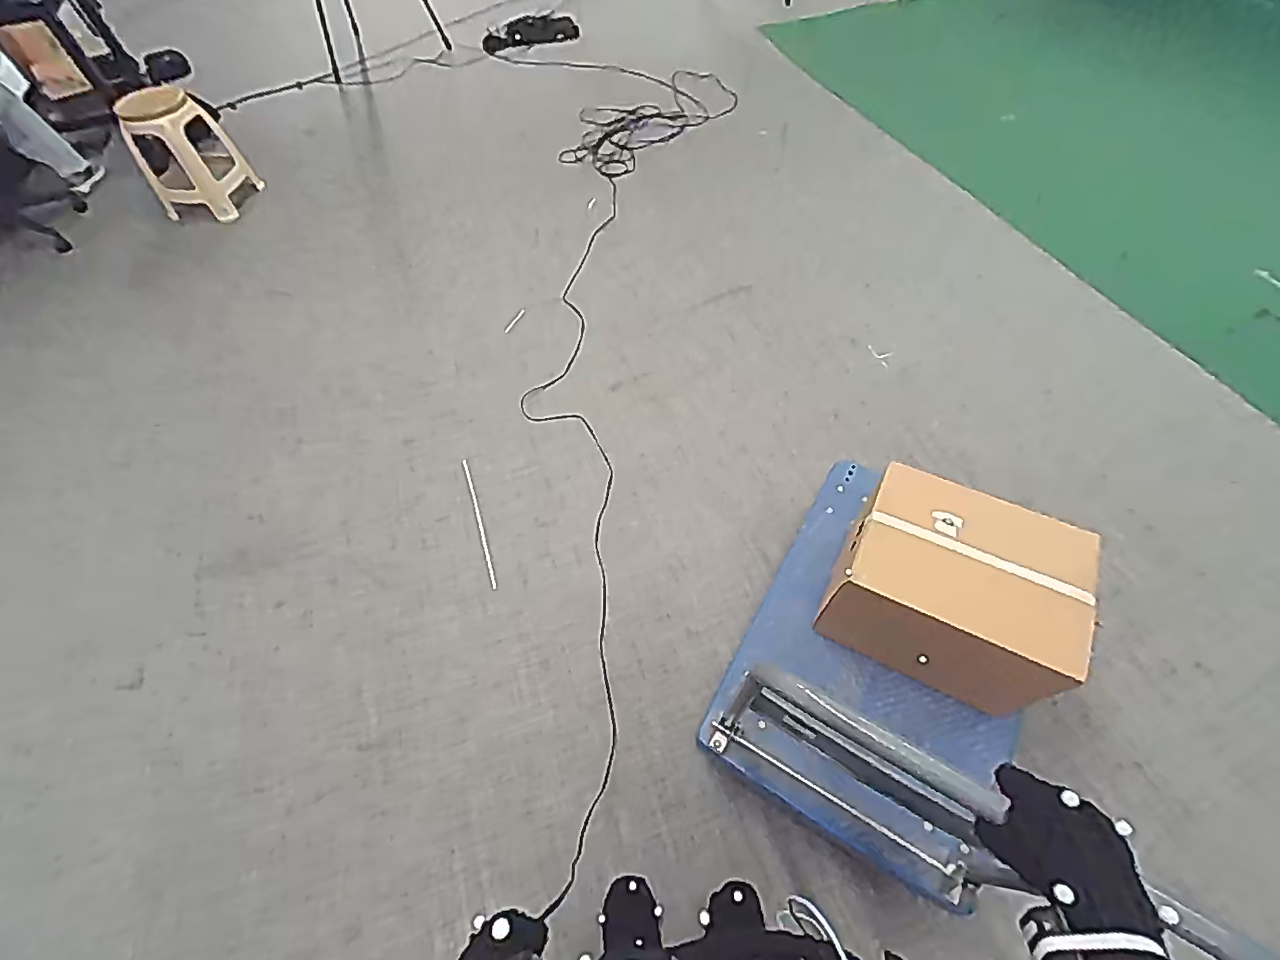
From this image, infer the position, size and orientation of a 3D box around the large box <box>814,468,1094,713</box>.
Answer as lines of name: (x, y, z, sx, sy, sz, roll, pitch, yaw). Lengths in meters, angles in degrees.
large box: (0.640, 0.238, 1.150, 0.408, 0.320, 0.320, 22, 60, 17)
